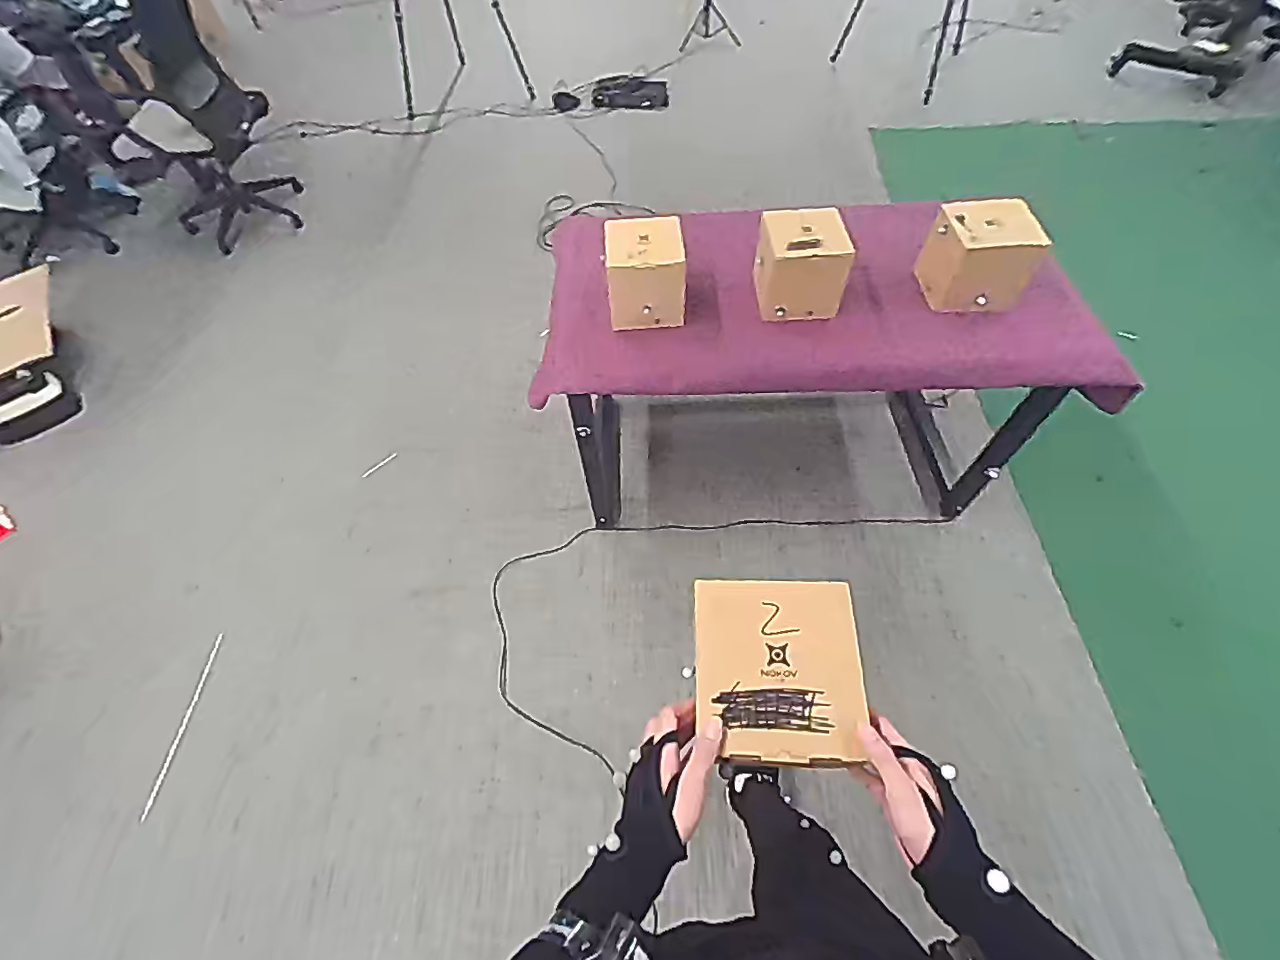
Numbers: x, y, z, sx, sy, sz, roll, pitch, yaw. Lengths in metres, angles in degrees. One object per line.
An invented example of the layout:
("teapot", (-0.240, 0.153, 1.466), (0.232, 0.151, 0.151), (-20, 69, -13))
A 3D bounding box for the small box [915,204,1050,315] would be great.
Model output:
("small box", (0.750, -0.487, 1.206), (0.179, 0.176, 0.168), (-1, 56, 3))

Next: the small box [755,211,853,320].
("small box", (0.360, -0.477, 1.220), (0.168, 0.176, 0.179), (-2, 56, 1))

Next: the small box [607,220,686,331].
("small box", (0.013, -0.461, 1.227), (0.168, 0.176, 0.179), (-3, 56, 1))
